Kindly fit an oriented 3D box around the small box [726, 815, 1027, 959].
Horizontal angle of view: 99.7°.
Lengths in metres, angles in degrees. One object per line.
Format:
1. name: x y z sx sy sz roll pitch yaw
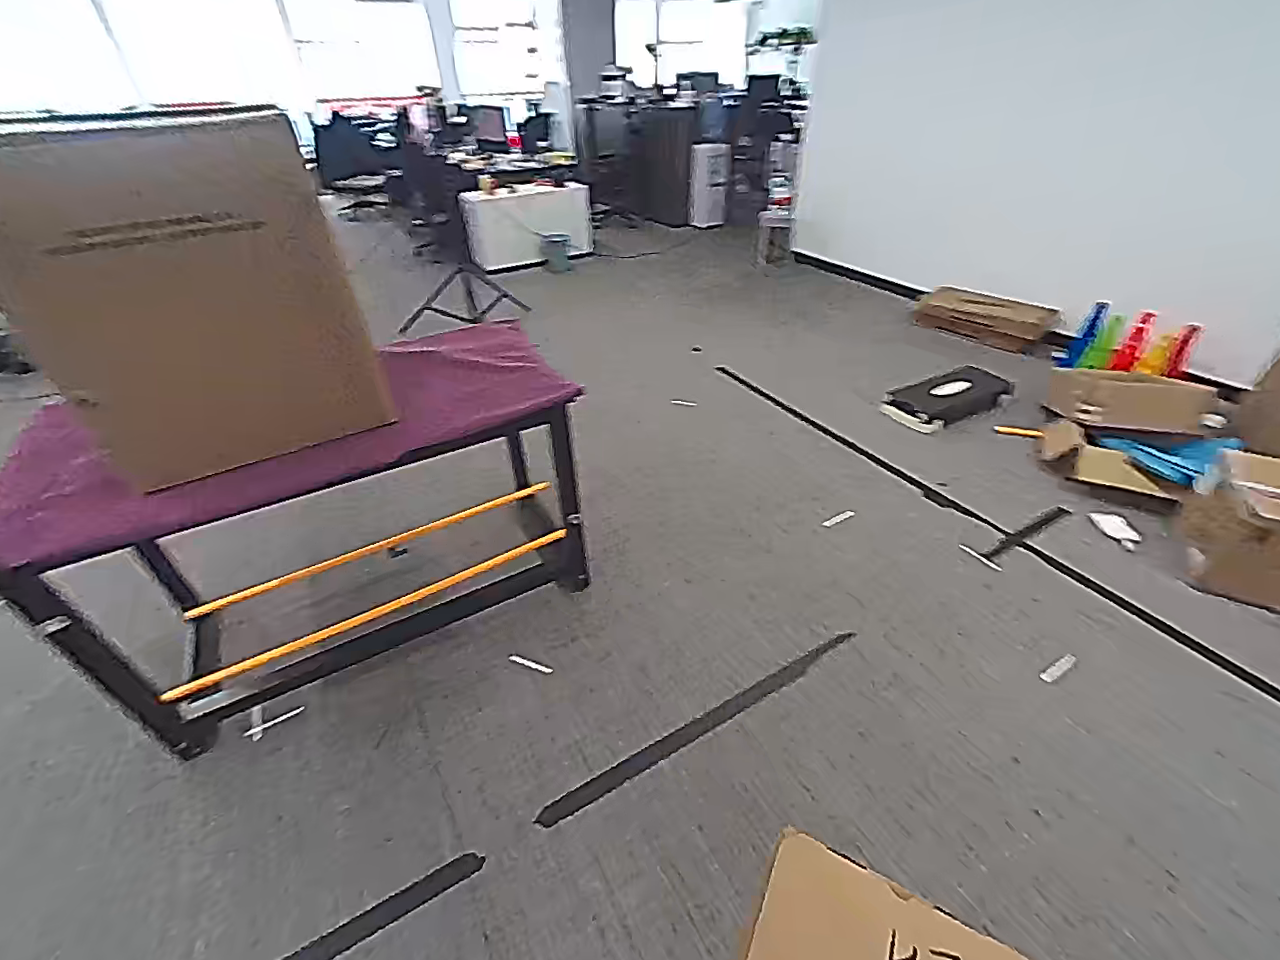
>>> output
1. small box: 0.130 0.379 0.349 0.168 0.176 0.179 19 31 21
